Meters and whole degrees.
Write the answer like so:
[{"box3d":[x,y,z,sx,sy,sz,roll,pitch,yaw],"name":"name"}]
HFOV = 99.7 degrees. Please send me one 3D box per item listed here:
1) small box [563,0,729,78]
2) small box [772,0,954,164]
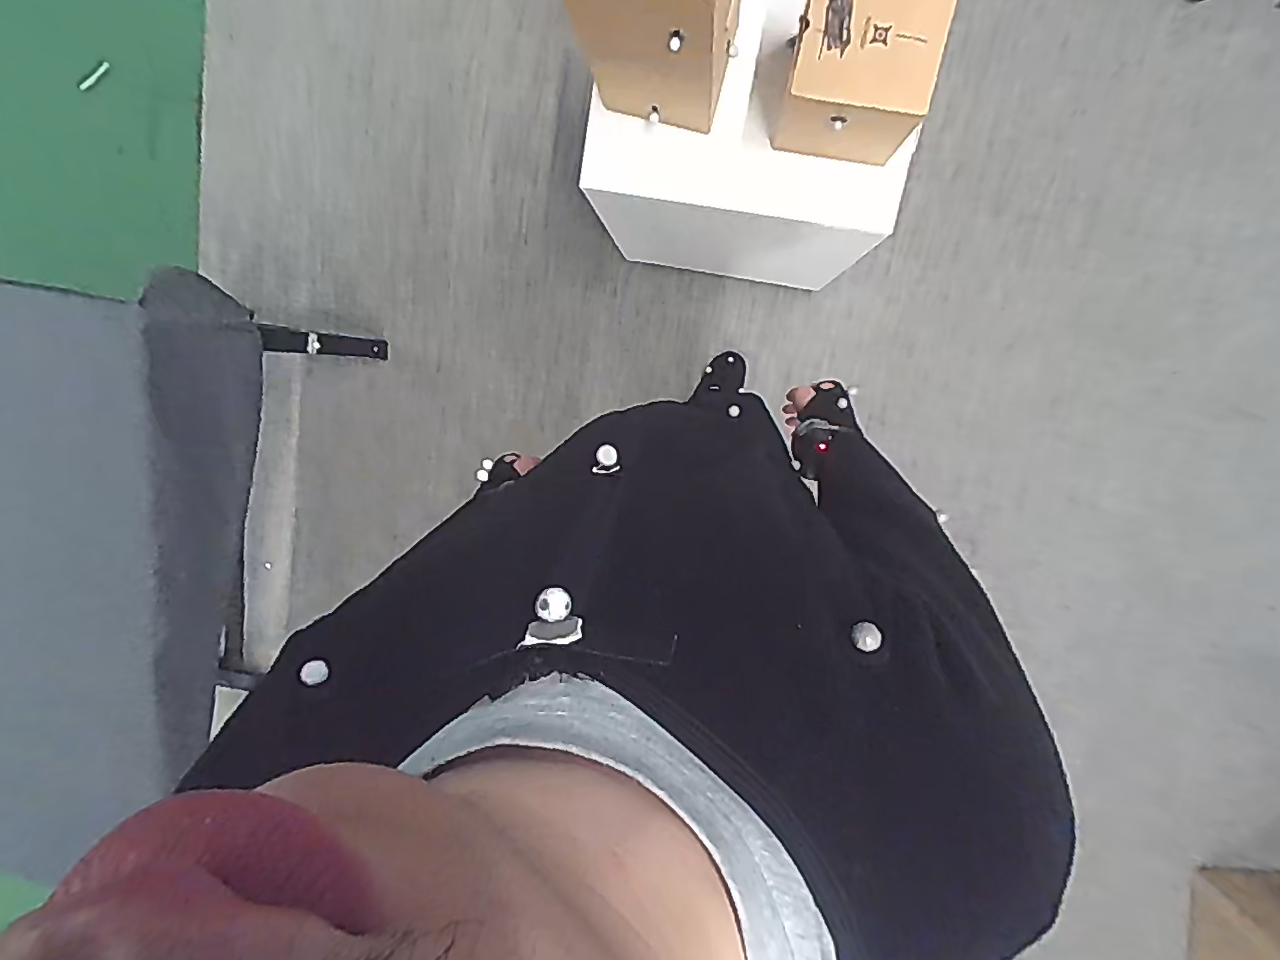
[{"box3d":[0.018,-0.581,0.589,0.179,0.176,0.168,12,99,3],"name":"small box"},{"box3d":[0.290,-0.559,0.738,0.179,0.176,0.168,10,100,2],"name":"small box"}]
